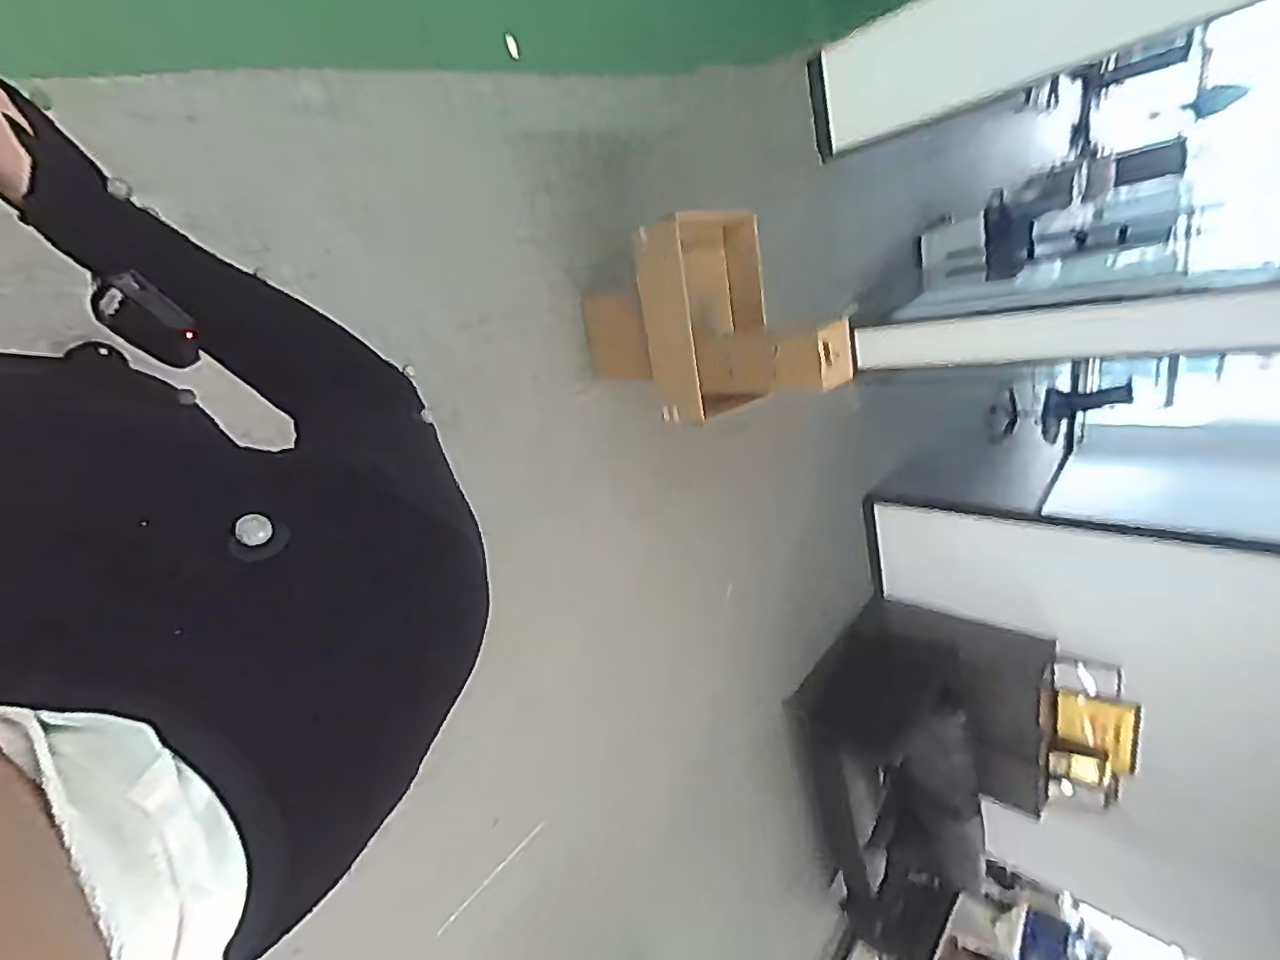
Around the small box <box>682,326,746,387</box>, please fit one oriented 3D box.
[{"bbox_3d":[0.265,-0.411,1.798,0.179,0.176,0.168,-28,114,-38],"label":"small box"}]

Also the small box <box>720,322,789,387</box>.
[{"bbox_3d":[0.372,-0.391,1.677,0.179,0.176,0.168,-27,114,-37],"label":"small box"}]

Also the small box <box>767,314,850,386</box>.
[{"bbox_3d":[0.480,-0.371,1.556,0.179,0.176,0.168,-28,114,-38],"label":"small box"}]
